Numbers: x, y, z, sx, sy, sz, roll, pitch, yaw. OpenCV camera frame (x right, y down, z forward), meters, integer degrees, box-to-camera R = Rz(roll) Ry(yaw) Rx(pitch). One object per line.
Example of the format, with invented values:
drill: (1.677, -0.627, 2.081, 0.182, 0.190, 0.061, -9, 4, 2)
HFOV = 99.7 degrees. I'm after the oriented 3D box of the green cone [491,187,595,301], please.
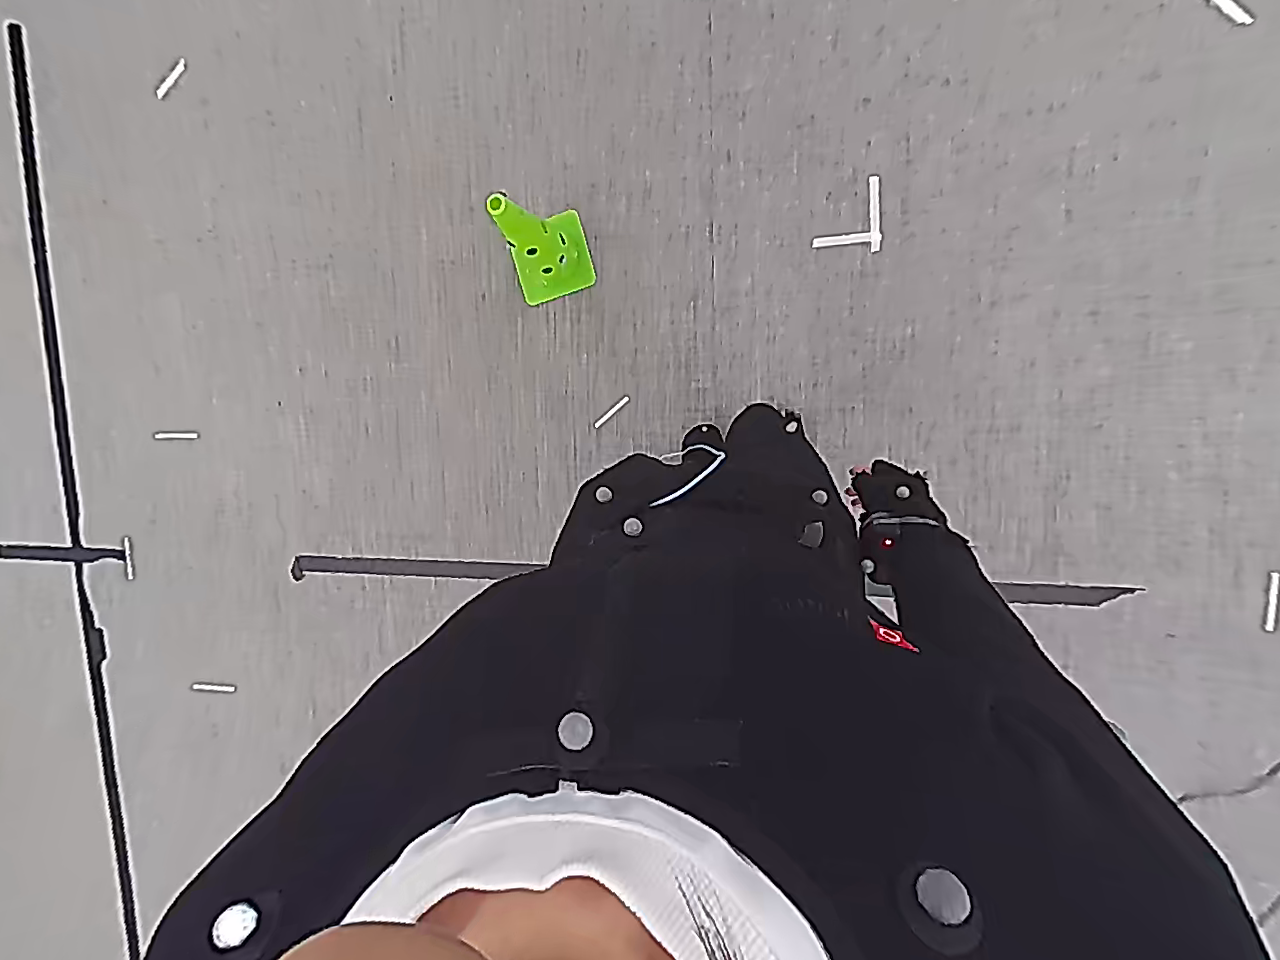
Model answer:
green cone: (-0.255, -0.568, 1.239, 0.202, 0.368, 0.200, -16, 94, 9)
